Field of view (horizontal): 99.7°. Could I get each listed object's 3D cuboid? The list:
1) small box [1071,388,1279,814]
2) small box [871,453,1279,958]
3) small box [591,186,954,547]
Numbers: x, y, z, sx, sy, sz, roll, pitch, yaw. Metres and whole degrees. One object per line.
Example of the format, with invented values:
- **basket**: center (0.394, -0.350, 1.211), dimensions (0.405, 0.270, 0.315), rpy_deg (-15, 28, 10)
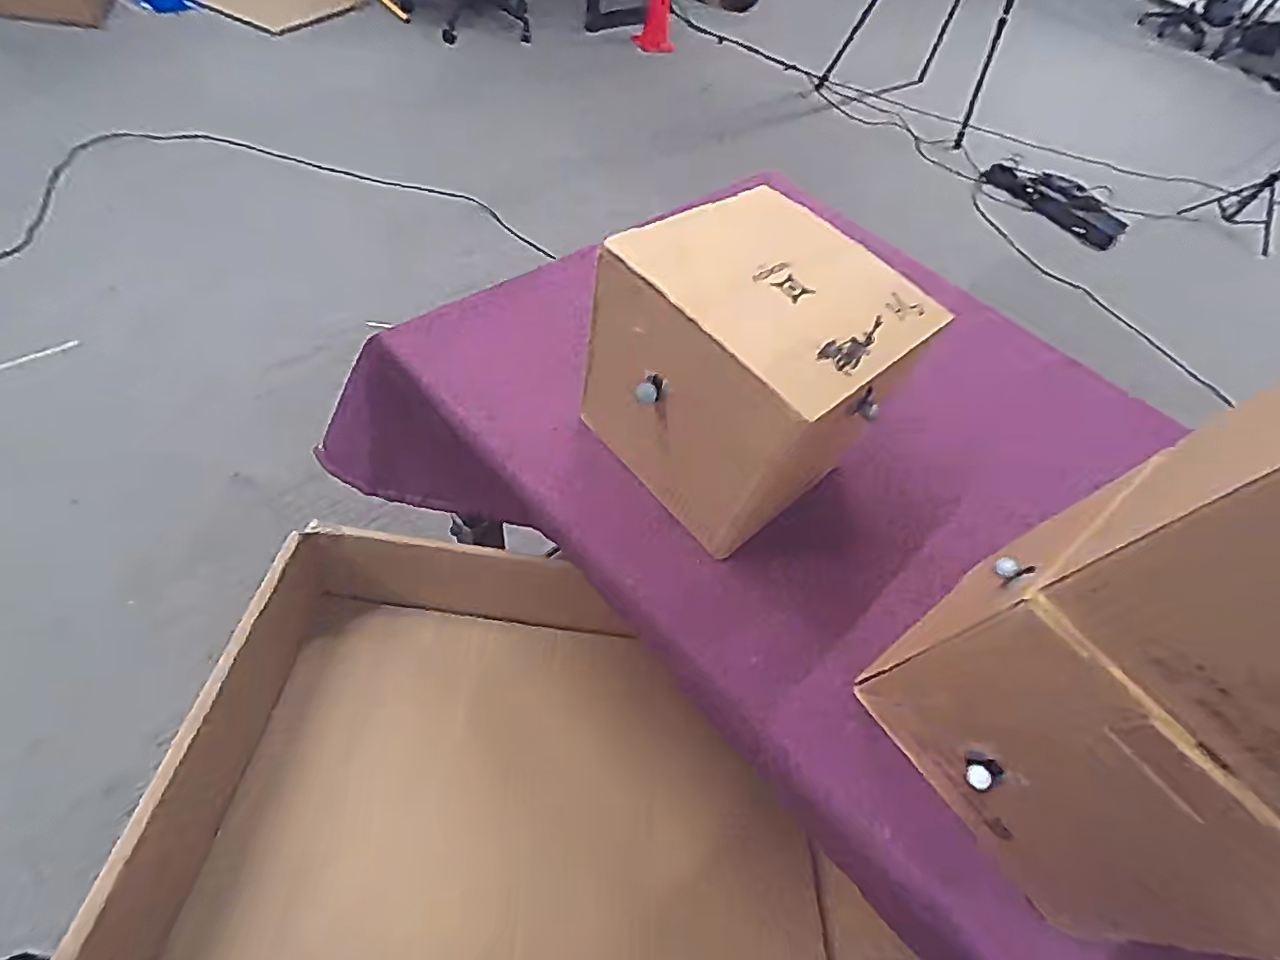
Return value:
- **small box**: center (0.309, 0.028, 0.184), dimensions (0.179, 0.176, 0.168), rpy_deg (-27, 65, -25)
- **small box**: center (0.277, 0.120, 0.317), dimensions (0.179, 0.176, 0.168), rpy_deg (-29, 66, -25)
- **small box**: center (0.078, -0.082, 0.409), dimensions (0.168, 0.176, 0.179), rpy_deg (-34, 68, -27)
